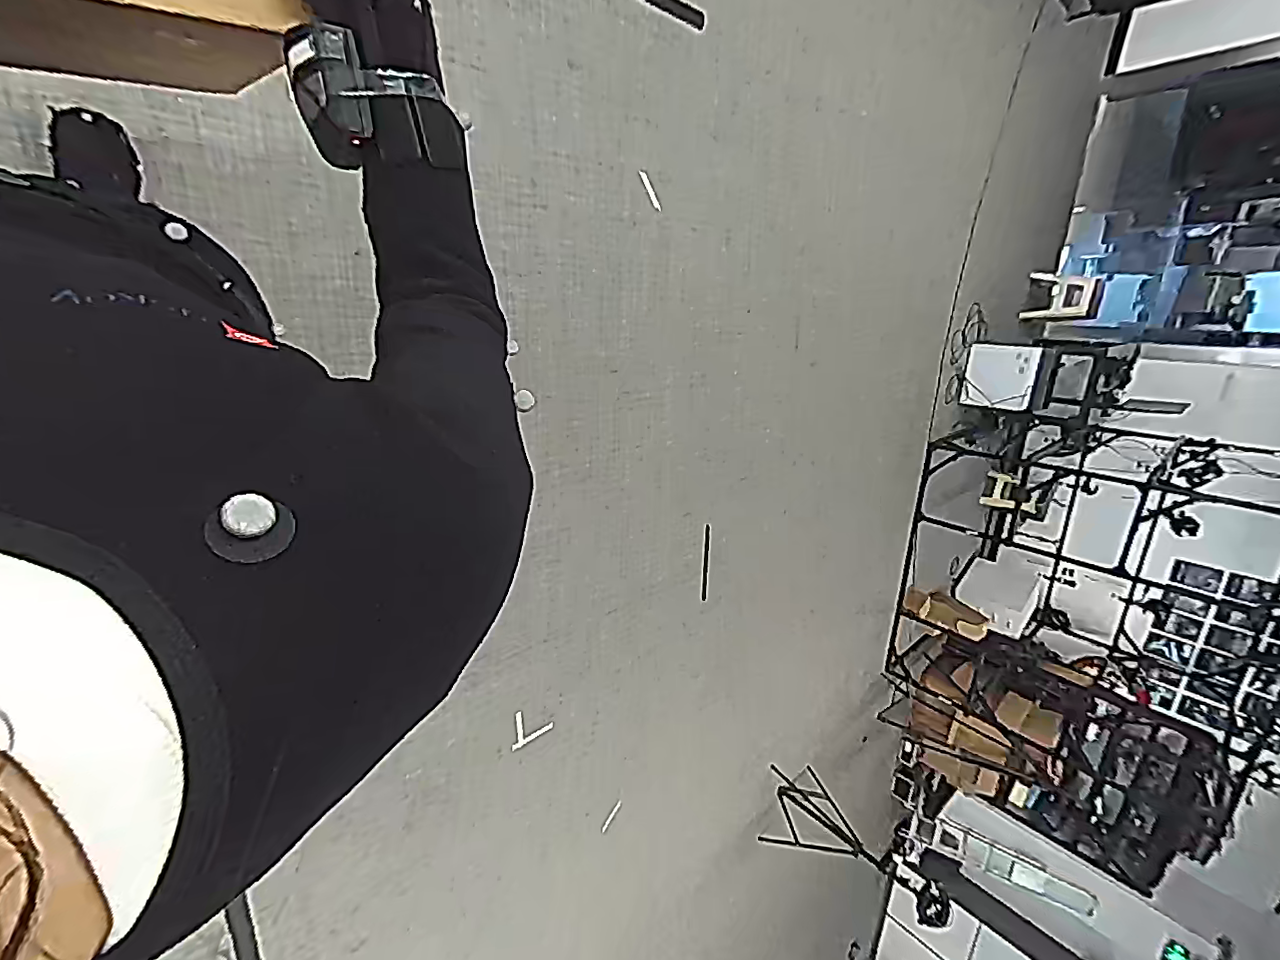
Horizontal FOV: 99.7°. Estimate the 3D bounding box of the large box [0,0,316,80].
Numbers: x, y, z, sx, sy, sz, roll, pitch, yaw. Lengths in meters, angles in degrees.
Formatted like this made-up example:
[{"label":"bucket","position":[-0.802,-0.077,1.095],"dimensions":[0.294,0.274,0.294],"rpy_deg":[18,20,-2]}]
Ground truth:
[{"label":"large box","position":[-0.449,-0.417,0.251],"dimensions":[0.408,0.320,0.320],"rpy_deg":[-22,127,-38]}]
